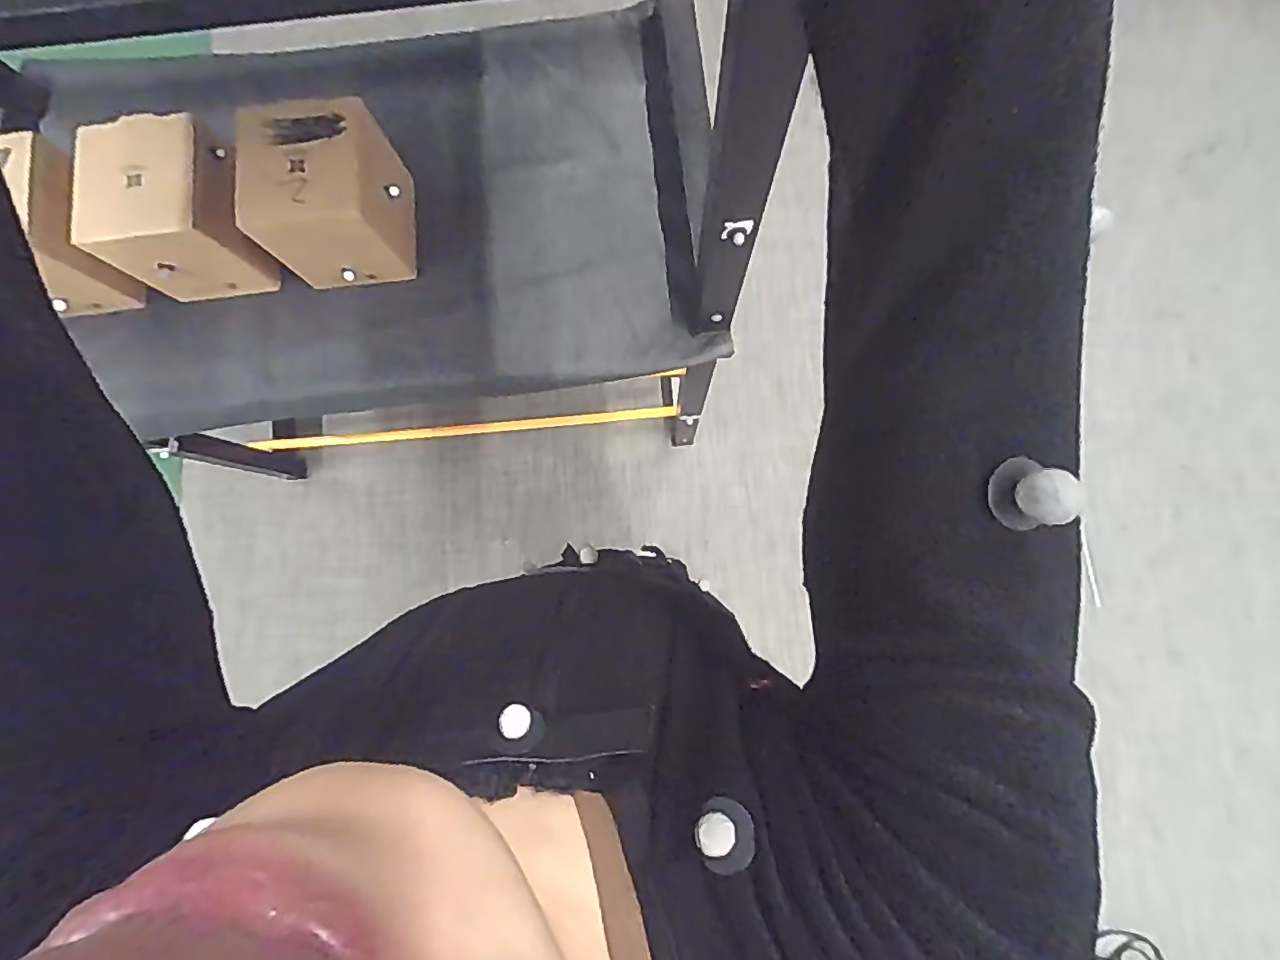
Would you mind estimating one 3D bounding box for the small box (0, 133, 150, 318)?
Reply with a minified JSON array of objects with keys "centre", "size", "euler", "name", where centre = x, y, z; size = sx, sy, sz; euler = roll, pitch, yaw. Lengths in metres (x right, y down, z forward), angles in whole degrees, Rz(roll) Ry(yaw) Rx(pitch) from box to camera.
[{"centre":[-0.874,-0.363,0.795],"size":[0.168,0.176,0.179],"euler":[-7,82,1],"name":"small box"}]
